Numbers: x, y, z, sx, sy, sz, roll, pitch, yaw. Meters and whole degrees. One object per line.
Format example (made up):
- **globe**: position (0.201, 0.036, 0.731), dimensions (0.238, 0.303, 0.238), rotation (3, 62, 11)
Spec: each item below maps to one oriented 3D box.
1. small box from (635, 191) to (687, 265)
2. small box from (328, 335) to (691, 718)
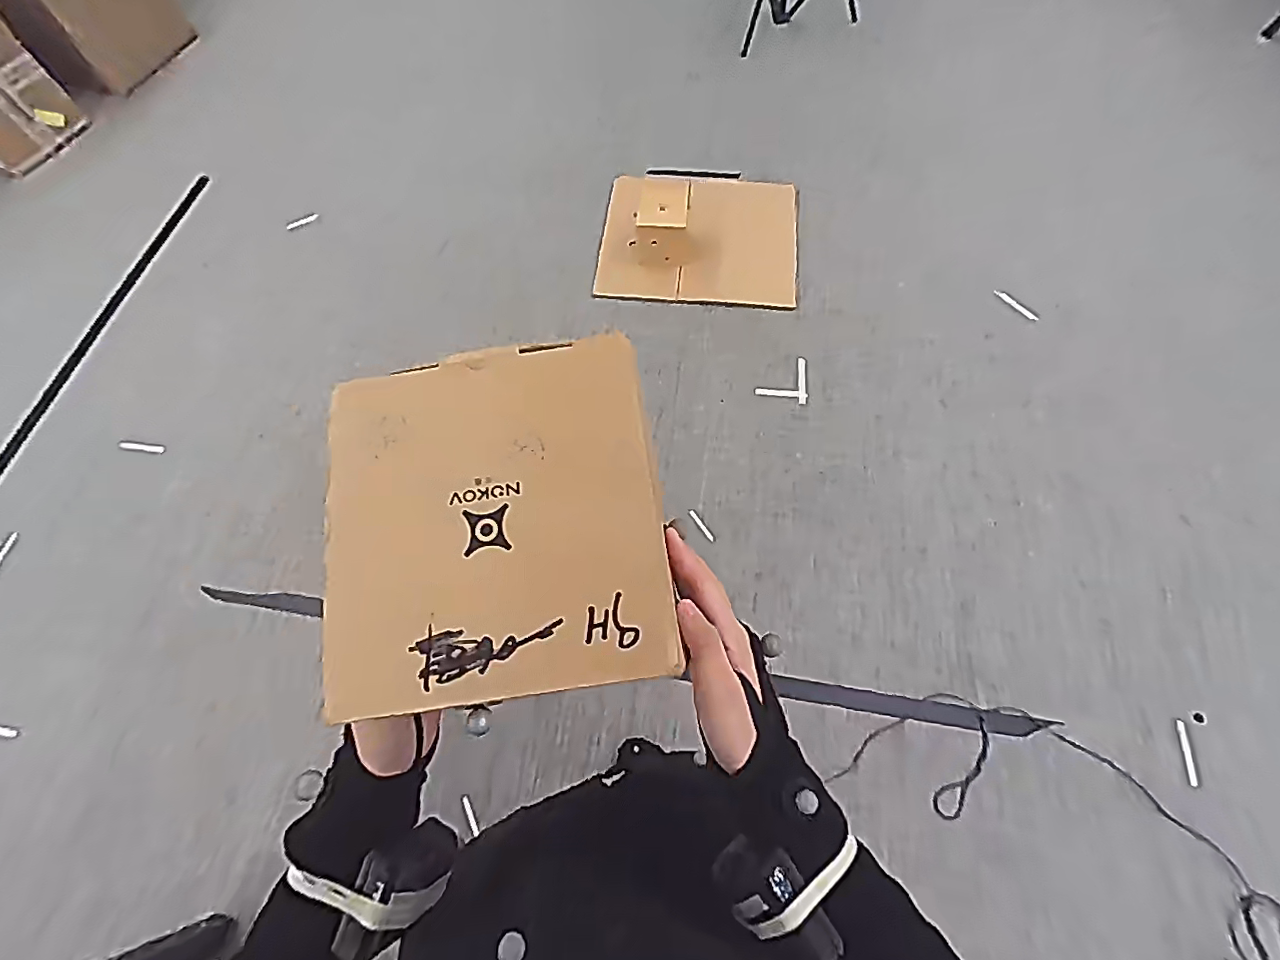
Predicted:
- **small box**: position (0.076, -0.868, 1.869), dimensions (0.168, 0.176, 0.179), rotation (3, 66, 4)
- **small box**: position (-0.062, 0.039, 0.340), dimensions (0.168, 0.176, 0.179), rotation (-9, 72, 4)
